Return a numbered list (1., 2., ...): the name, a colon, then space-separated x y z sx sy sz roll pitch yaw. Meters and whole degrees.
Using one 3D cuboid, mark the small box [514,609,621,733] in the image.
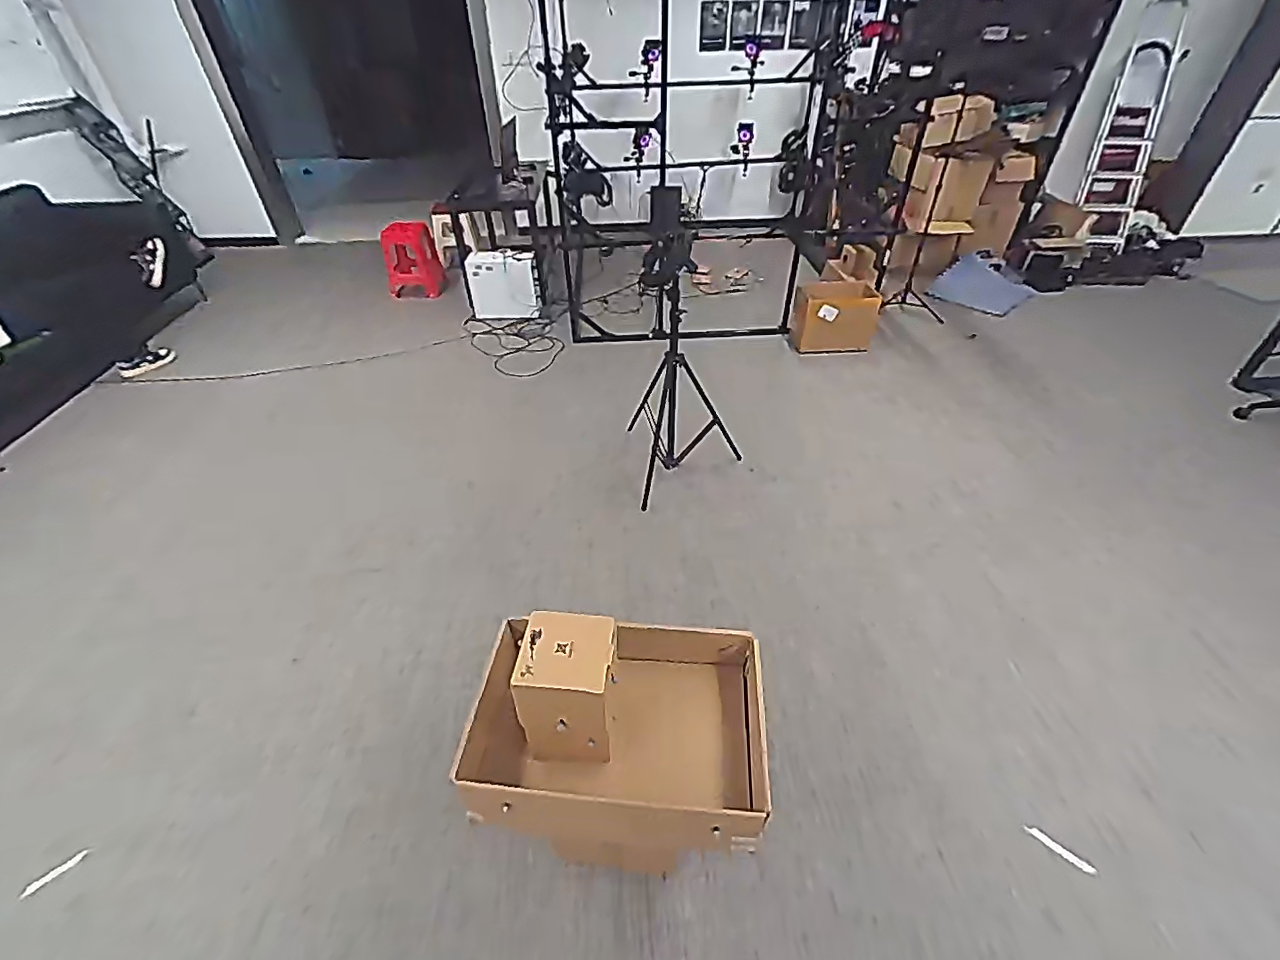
1. small box: -0.136 0.386 1.085 0.179 0.176 0.168 5 40 4
